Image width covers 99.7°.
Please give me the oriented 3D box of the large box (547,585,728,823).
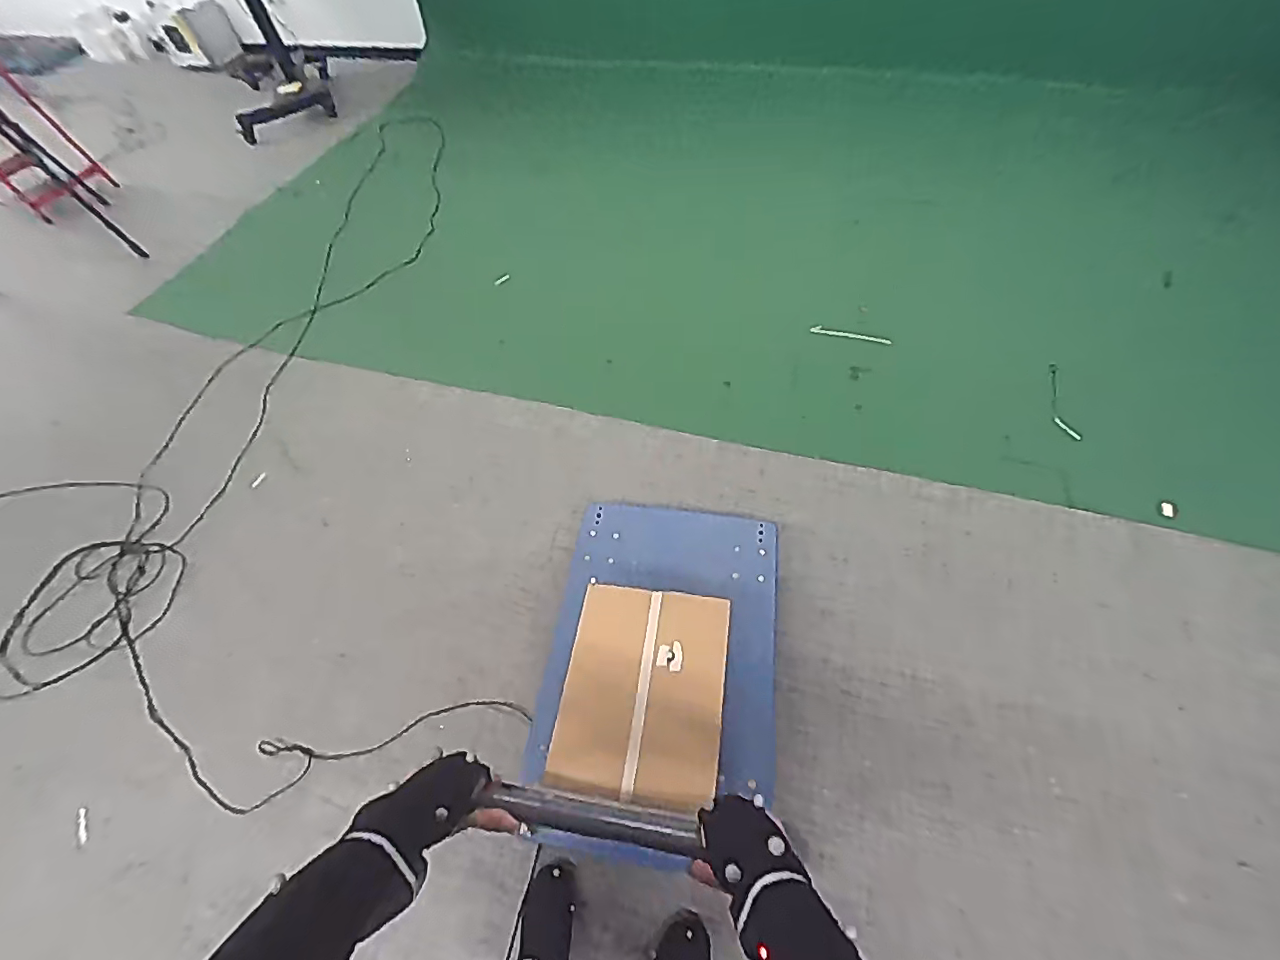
[{"bbox_3d":[0.021,0.489,1.181,0.320,0.320,0.408,5,56,9],"label":"large box"}]
